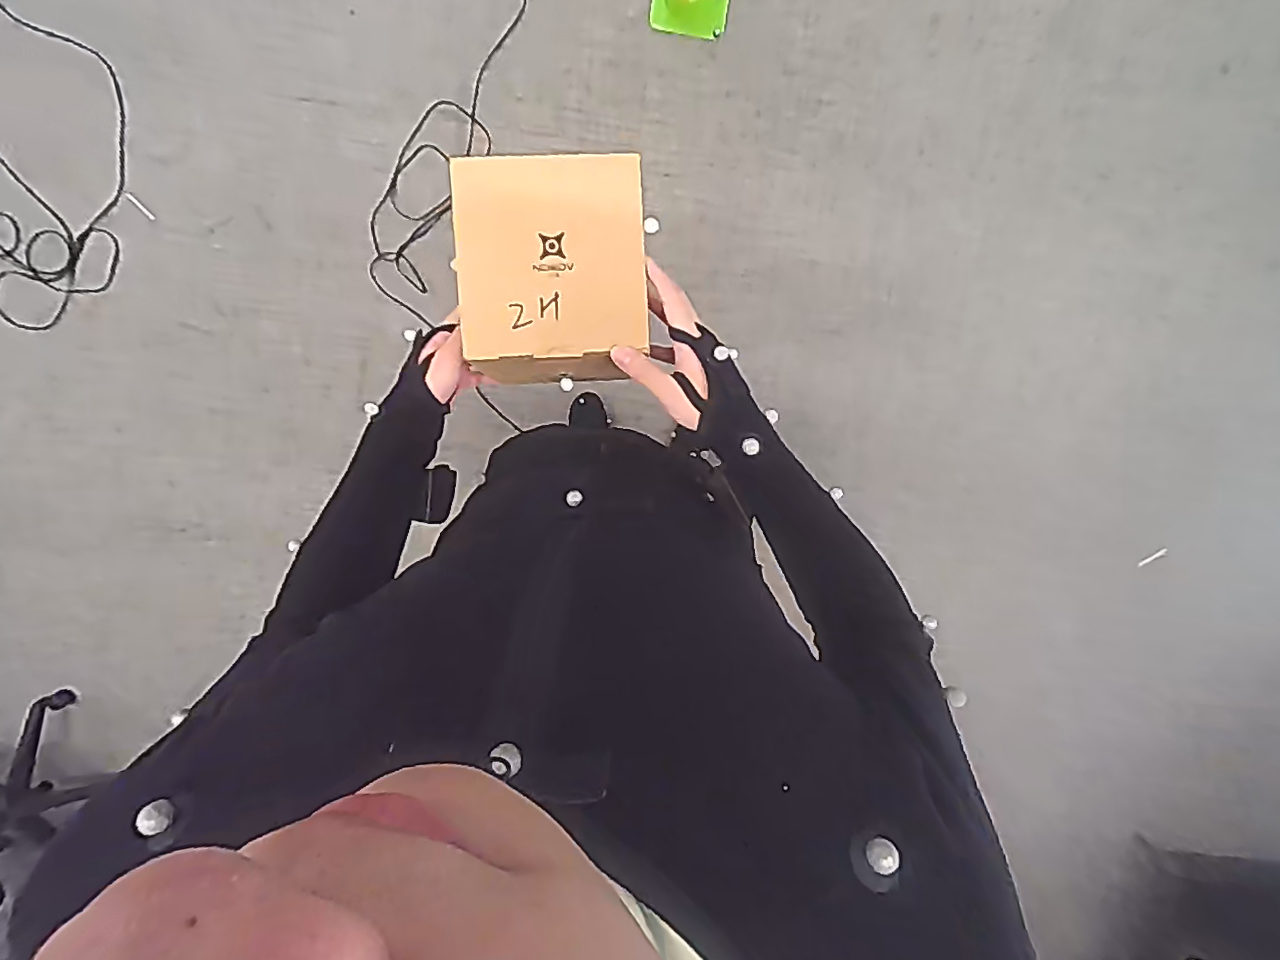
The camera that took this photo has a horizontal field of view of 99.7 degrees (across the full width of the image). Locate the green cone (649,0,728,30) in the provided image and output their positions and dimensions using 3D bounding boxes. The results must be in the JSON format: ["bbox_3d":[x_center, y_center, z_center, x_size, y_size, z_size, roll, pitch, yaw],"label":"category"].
[{"bbox_3d":[0.131,-1.252,1.217,0.202,0.368,0.200,8,99,-1],"label":"green cone"}]
